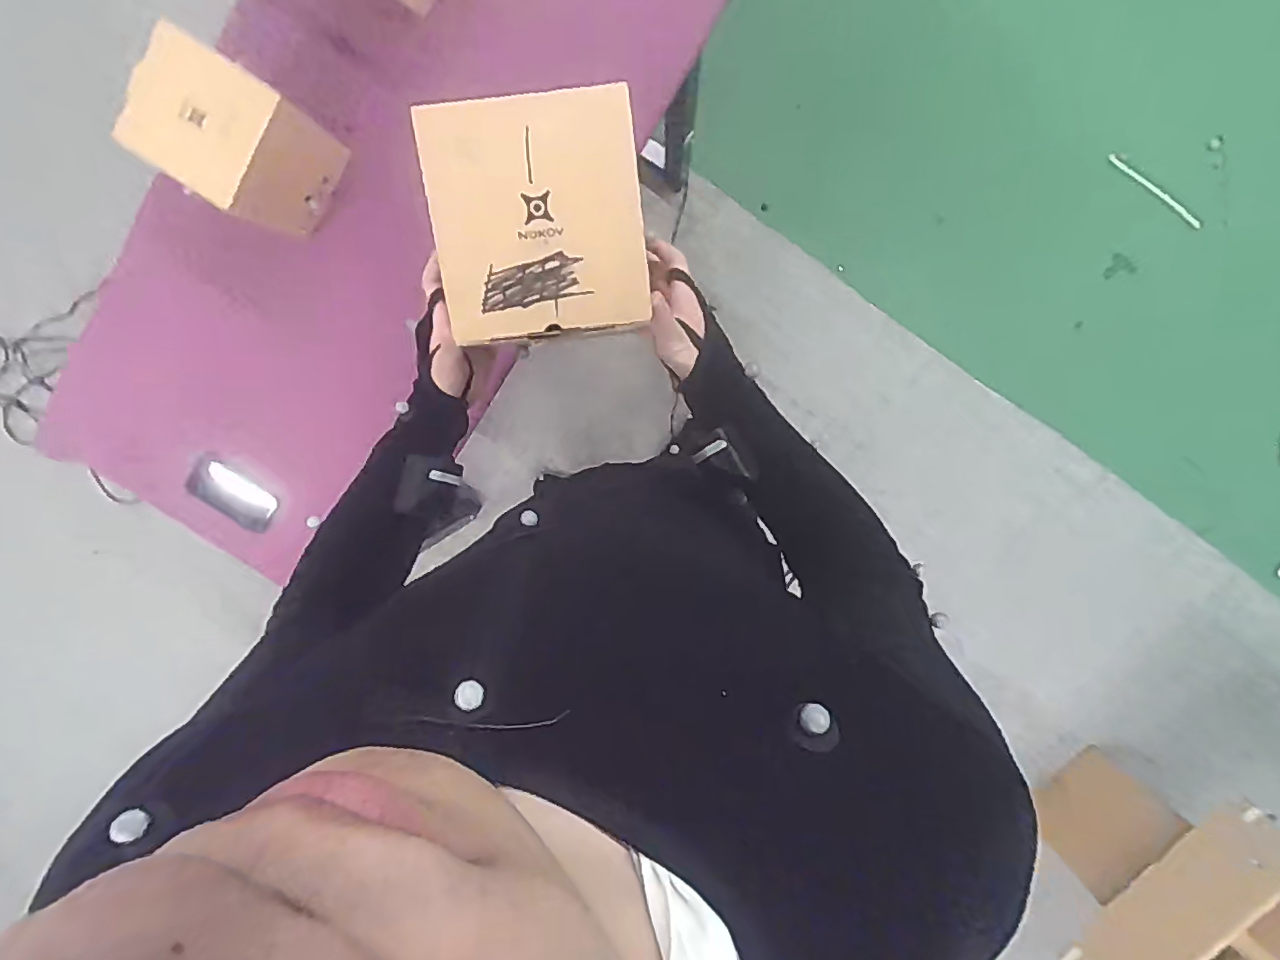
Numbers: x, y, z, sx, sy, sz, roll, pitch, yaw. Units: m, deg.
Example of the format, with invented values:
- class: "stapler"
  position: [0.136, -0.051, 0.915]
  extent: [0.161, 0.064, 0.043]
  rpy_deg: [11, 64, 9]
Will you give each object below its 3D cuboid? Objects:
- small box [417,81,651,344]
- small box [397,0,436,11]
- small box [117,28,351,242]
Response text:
- class: "small box"
  position: [-0.078, -0.222, 0.498]
  extent: [0.168, 0.176, 0.179]
  rpy_deg: [-6, 103, 0]
- class: "small box"
  position: [-0.354, -0.794, 0.719]
  extent: [0.179, 0.176, 0.168]
  rpy_deg: [35, 100, -2]
- class: "small box"
  position: [-0.567, -0.474, 0.779]
  extent: [0.179, 0.176, 0.168]
  rpy_deg: [32, 99, -3]
